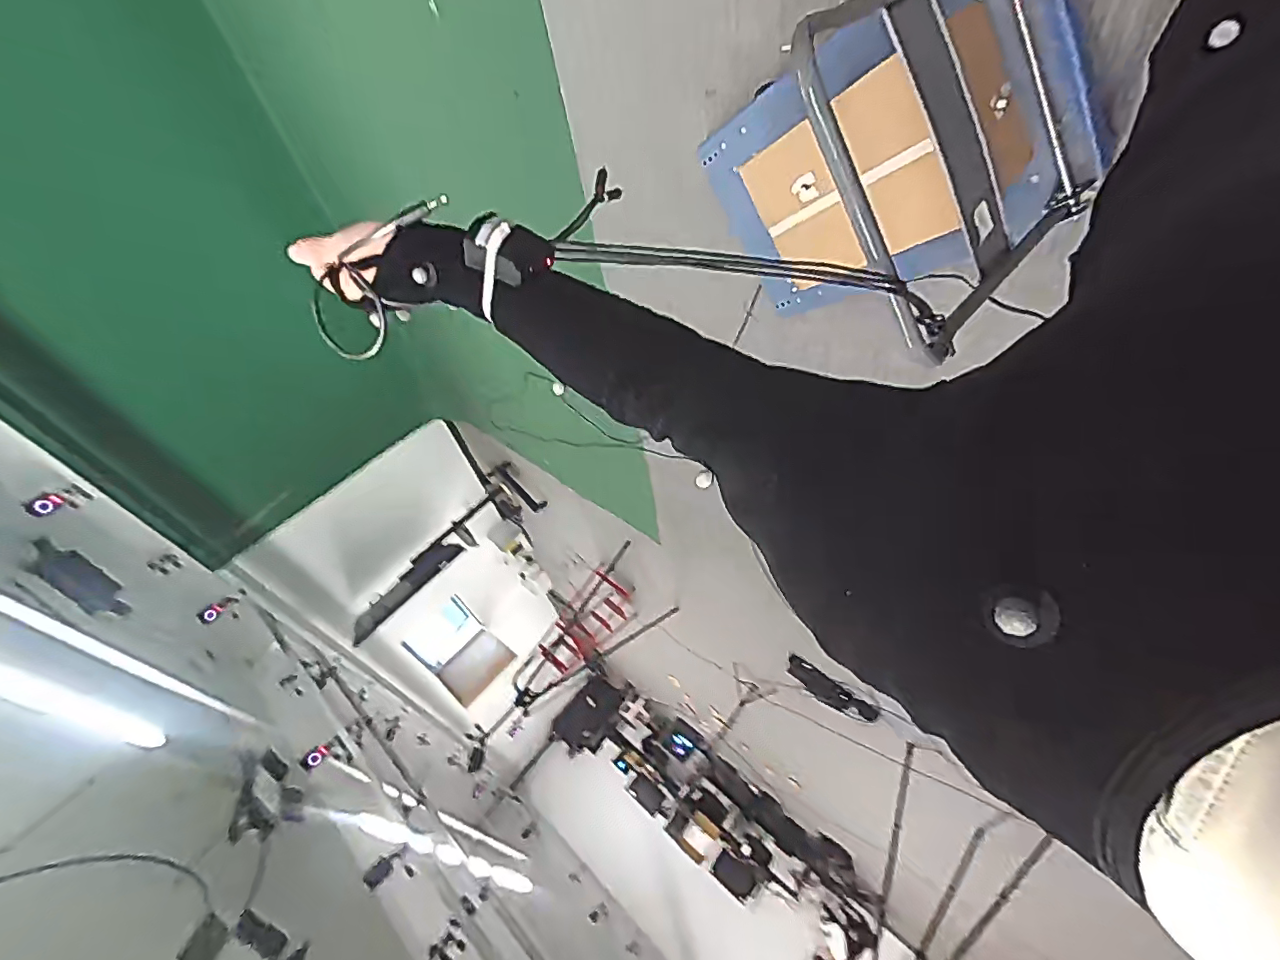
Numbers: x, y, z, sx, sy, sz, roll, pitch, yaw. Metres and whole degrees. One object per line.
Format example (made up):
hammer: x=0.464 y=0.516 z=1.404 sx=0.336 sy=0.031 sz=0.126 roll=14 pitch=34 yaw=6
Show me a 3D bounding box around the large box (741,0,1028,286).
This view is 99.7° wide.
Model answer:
large box: x=0.505 y=-0.682 z=1.147 sx=0.320 sy=0.320 sz=0.408 roll=56 pitch=154 yaw=-19
